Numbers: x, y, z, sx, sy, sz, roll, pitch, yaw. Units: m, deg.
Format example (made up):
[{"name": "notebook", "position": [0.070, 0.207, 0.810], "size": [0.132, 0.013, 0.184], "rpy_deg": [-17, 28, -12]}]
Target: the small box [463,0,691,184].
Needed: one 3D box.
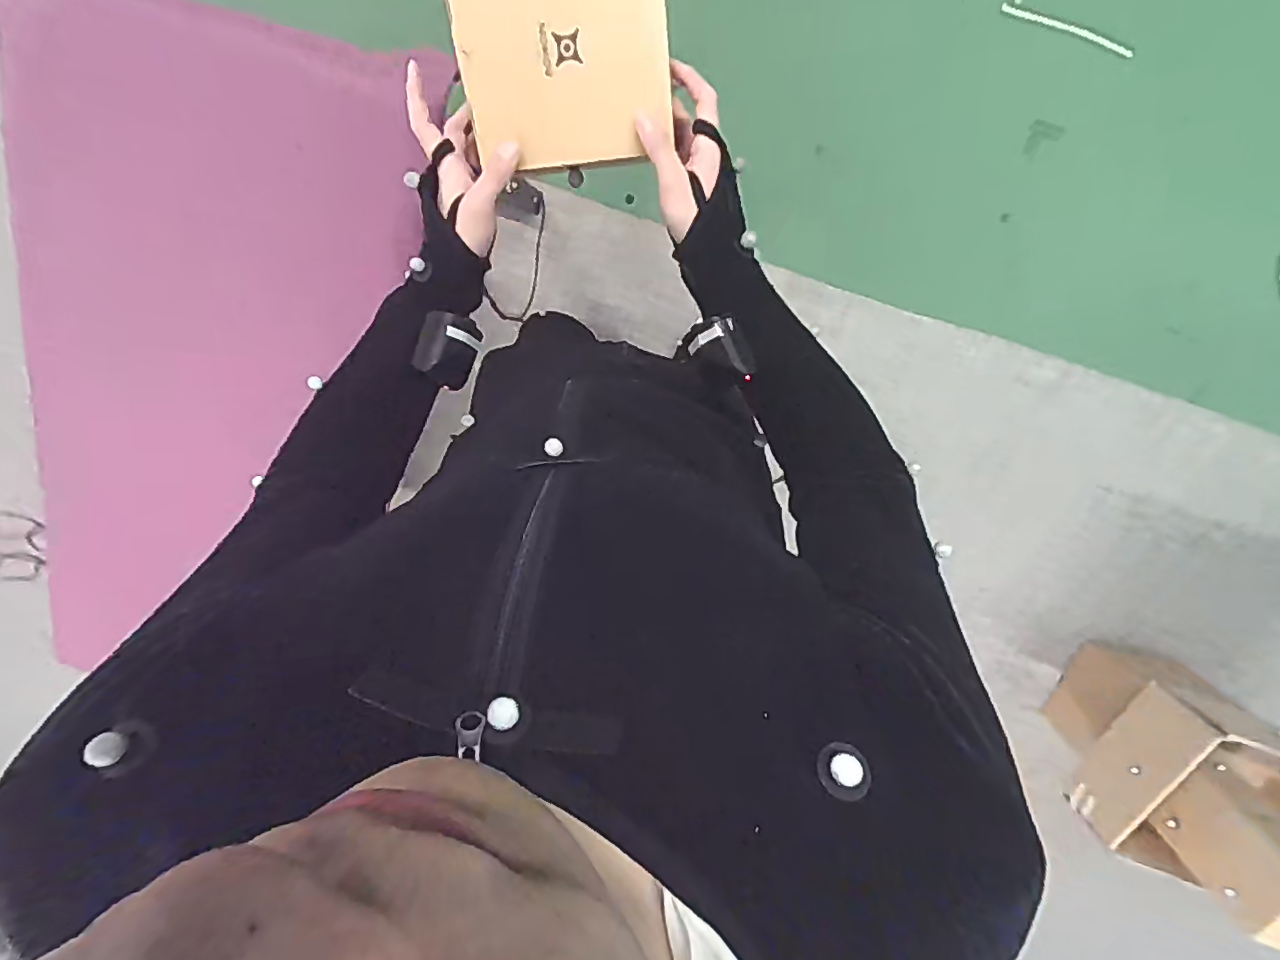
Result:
[{"name": "small box", "position": [-0.047, -0.382, 0.510], "size": [0.179, 0.176, 0.168], "rpy_deg": [-4, 119, 4]}]

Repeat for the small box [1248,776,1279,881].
[{"name": "small box", "position": [1.567, 0.848, 1.284], "size": [0.168, 0.176, 0.179], "rpy_deg": [24, 109, -3]}]

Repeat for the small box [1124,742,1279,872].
[{"name": "small box", "position": [1.307, 0.762, 1.271], "size": [0.168, 0.176, 0.179], "rpy_deg": [19, 109, -3]}]
